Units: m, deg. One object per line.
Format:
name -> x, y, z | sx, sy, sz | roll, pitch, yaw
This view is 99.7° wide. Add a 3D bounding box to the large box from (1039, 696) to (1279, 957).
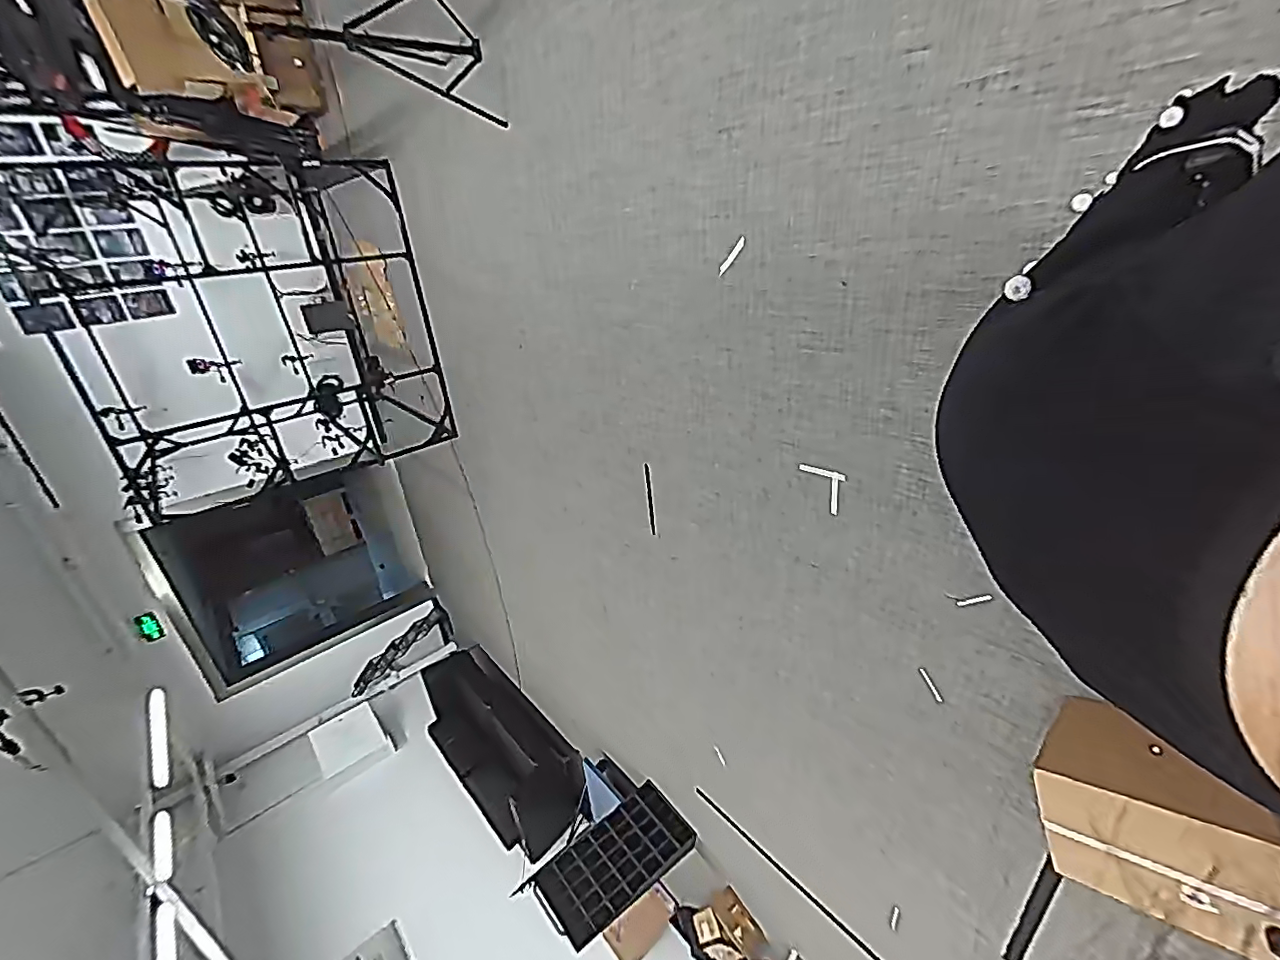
large box -> 1.231, 0.756, 1.248 | 0.408, 0.320, 0.320 | -6, 105, 54
